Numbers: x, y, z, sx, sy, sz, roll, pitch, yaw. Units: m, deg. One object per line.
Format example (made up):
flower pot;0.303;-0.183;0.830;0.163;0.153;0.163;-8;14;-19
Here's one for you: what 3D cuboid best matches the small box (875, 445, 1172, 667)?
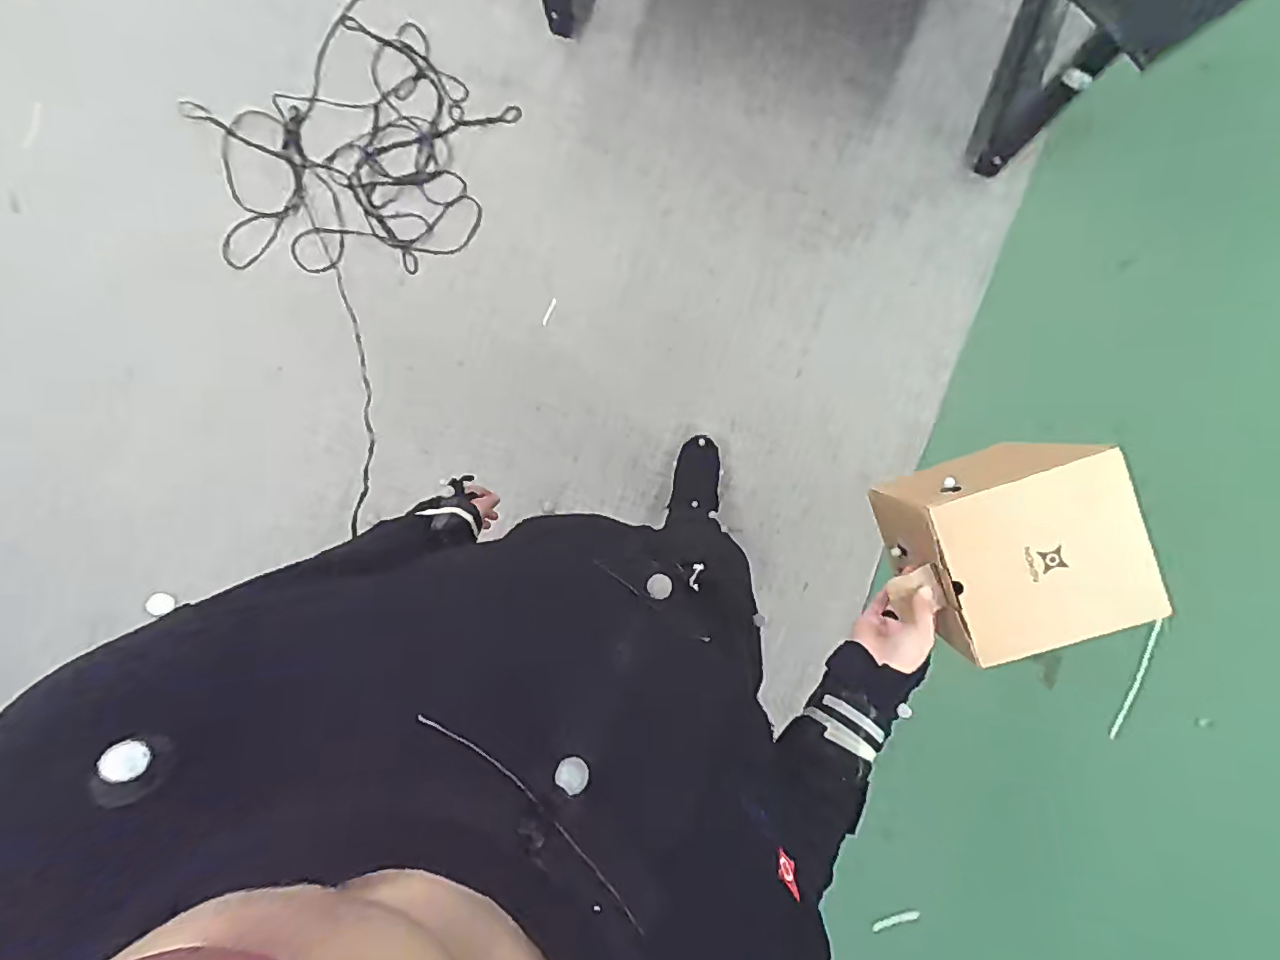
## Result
small box;0.384;0.065;0.576;0.179;0.176;0.168;-21;92;7
